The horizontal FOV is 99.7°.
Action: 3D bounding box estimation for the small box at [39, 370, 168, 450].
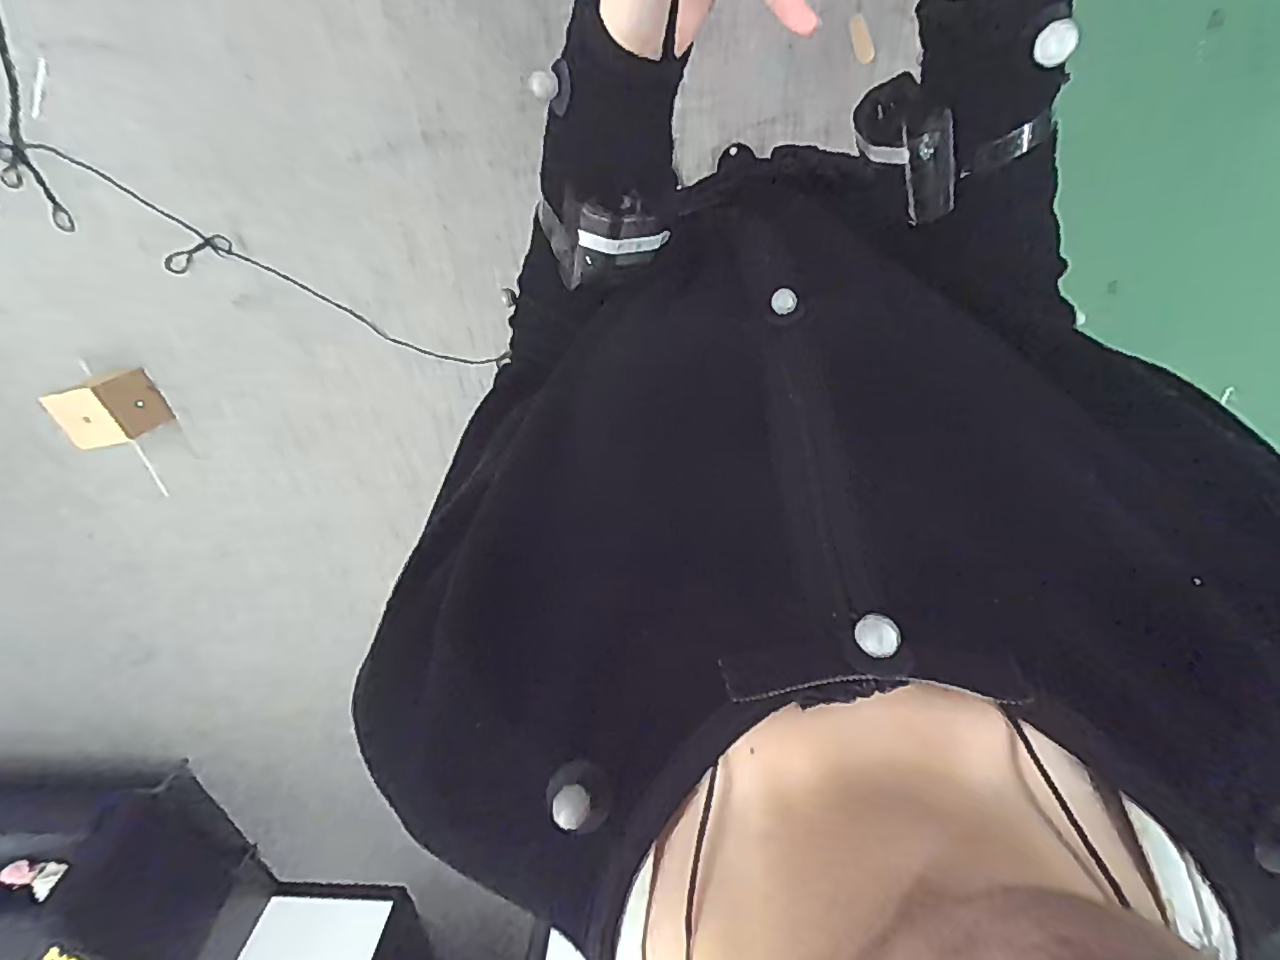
[{"bbox_3d":[-1.528,-0.208,1.561,0.179,0.176,0.168,-7,120,9],"label":"small box"}]
